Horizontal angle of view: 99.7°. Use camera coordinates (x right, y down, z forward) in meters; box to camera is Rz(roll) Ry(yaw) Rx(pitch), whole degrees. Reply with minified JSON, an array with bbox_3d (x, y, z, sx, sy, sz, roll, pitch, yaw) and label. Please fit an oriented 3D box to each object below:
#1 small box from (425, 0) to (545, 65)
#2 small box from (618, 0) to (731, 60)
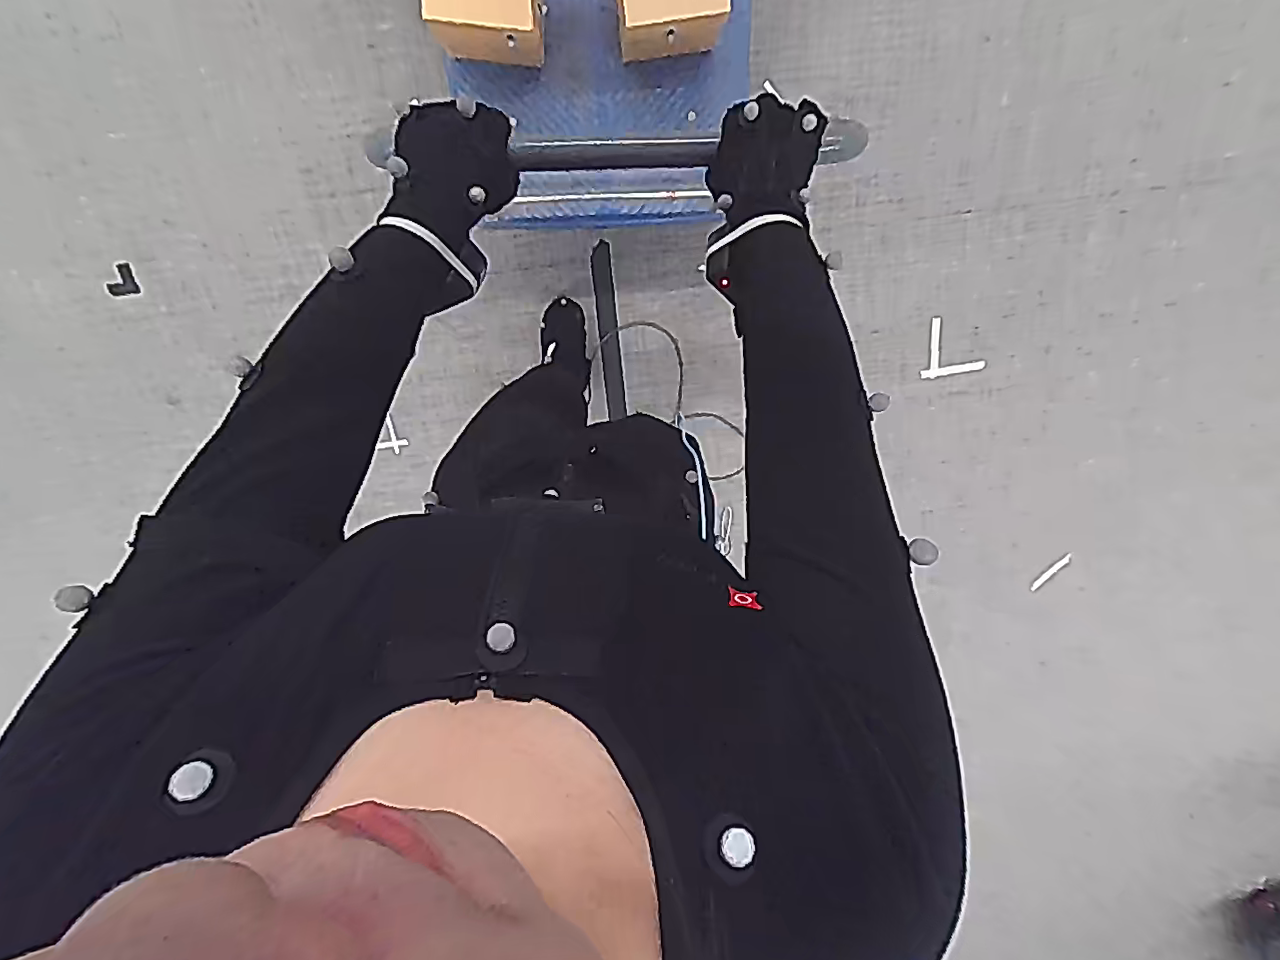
[{"bbox_3d":[-0.255,-0.833,0.913,0.179,0.176,0.168,2,111,-6],"label":"small box"},{"bbox_3d":[0.049,-0.853,0.925,0.179,0.176,0.168,-8,113,0],"label":"small box"}]
